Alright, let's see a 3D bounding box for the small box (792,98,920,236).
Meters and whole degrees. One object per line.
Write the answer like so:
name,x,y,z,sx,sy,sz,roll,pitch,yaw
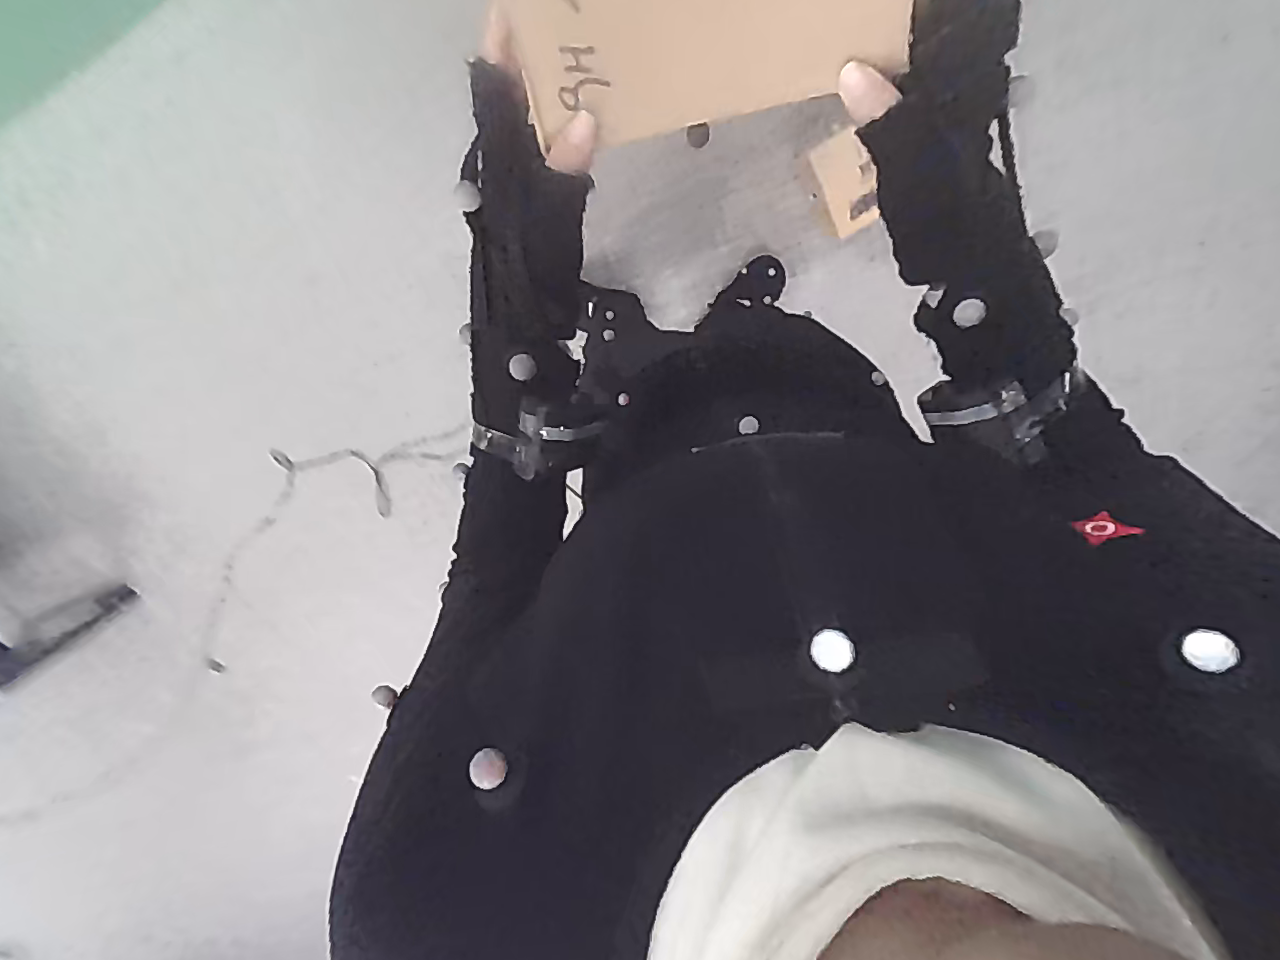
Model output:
small box,0.427,-0.622,1.090,0.168,0.176,0.179,-28,111,18
